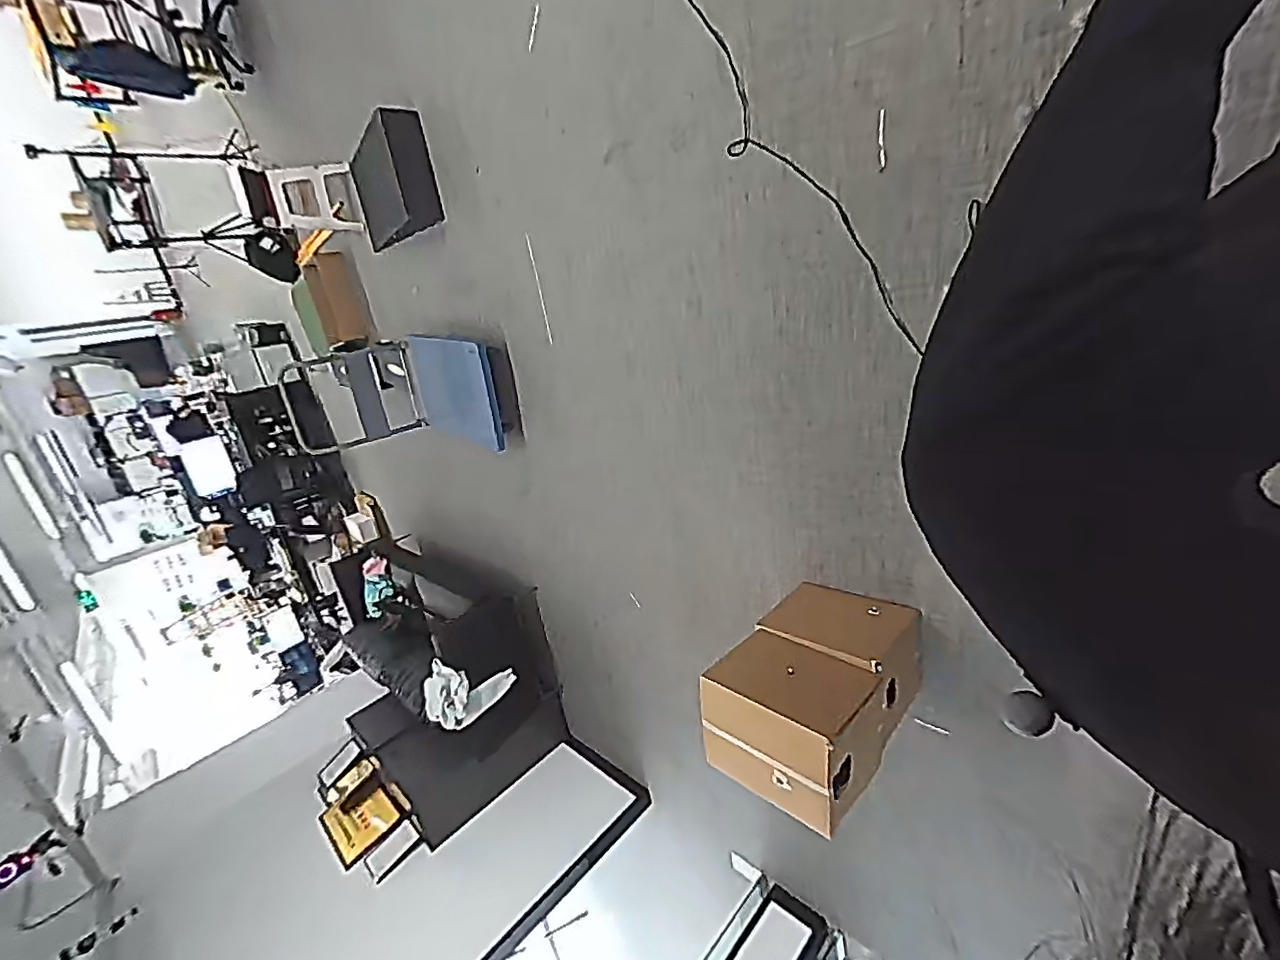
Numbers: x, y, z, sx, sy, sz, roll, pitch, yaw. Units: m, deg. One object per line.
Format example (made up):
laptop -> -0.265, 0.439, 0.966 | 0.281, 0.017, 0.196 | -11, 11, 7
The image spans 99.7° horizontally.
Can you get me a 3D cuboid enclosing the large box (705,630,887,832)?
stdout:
large box -> 0.443, 0.683, 1.555 | 0.408, 0.320, 0.320 | 10, 113, 44
